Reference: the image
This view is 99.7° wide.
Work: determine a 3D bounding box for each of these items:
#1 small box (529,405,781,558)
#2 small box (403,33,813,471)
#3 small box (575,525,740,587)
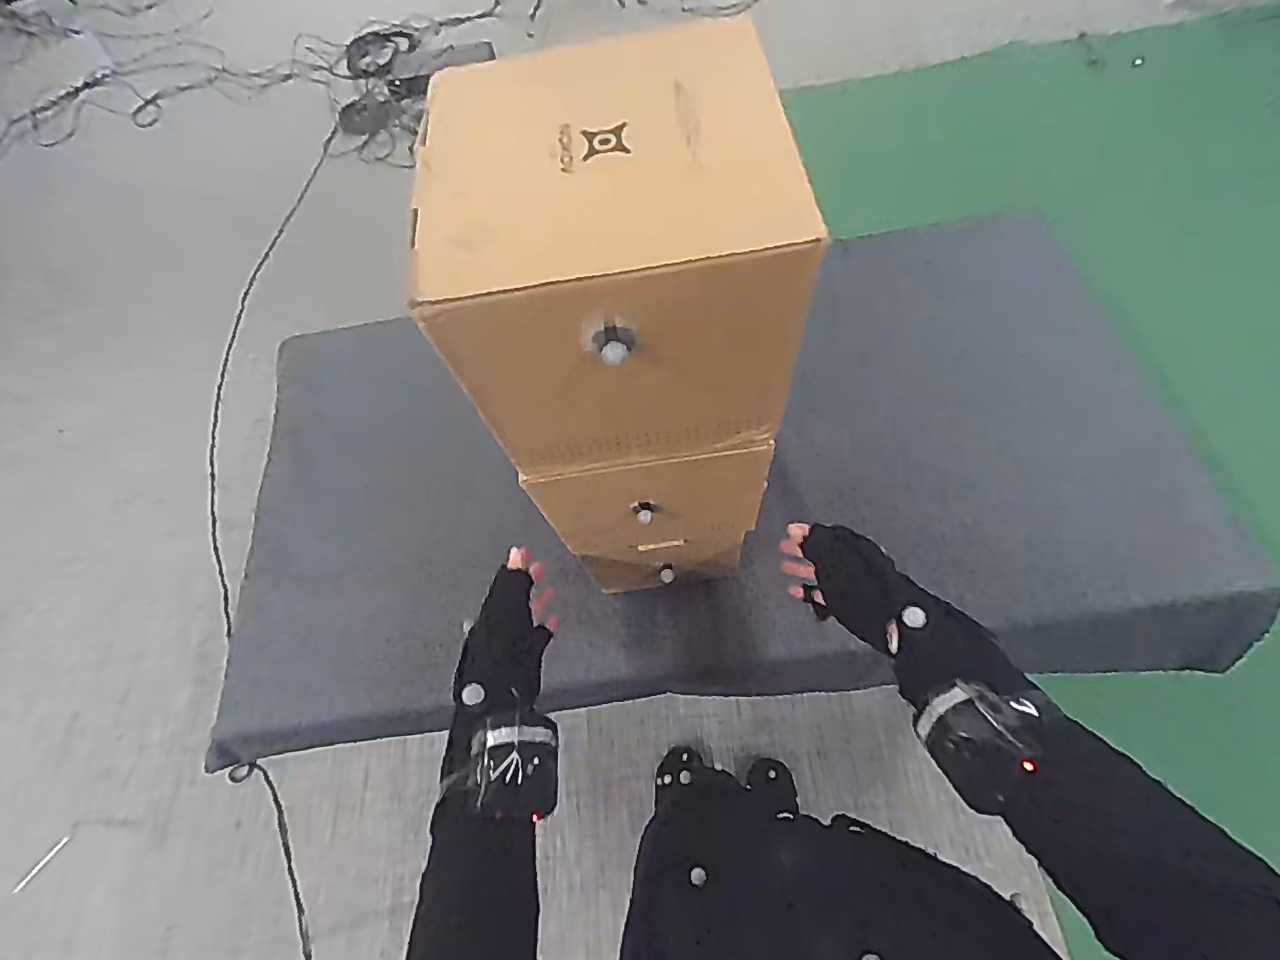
[{"bbox_3d":[0.006,-0.044,0.471,0.179,0.176,0.168,-10,64,1],"label":"small box"},{"bbox_3d":[-0.013,-0.117,0.328,0.179,0.176,0.168,-8,65,3],"label":"small box"},{"bbox_3d":[0.018,0.019,0.623,0.168,0.176,0.179,-9,66,3],"label":"small box"}]
